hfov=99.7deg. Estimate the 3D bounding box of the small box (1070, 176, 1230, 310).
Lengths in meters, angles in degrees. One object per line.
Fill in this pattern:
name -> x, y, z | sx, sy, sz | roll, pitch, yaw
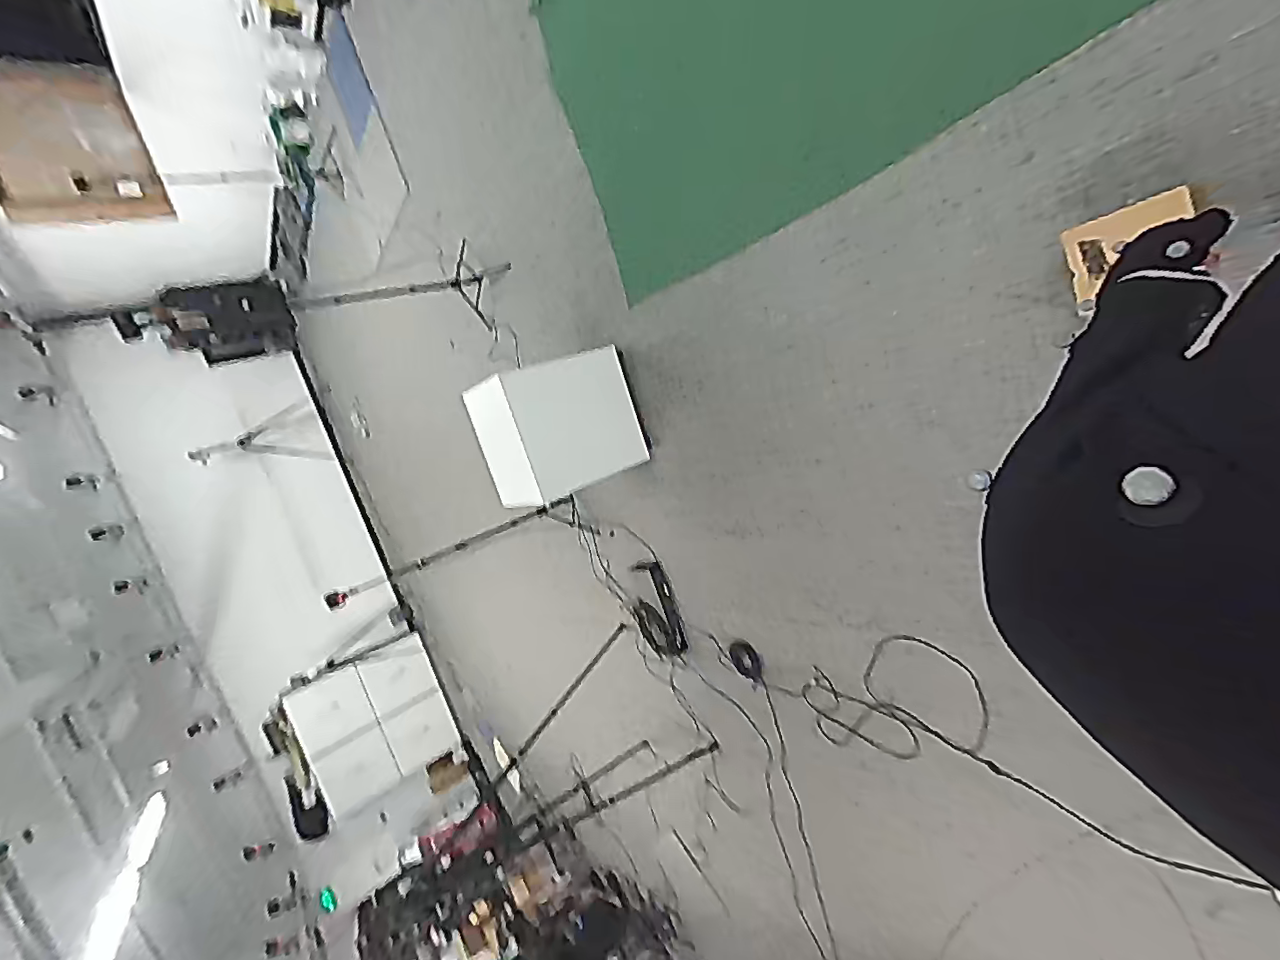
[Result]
small box -> 0.937, -0.430, 0.995 | 0.179, 0.176, 0.168 | -12, 100, 53
